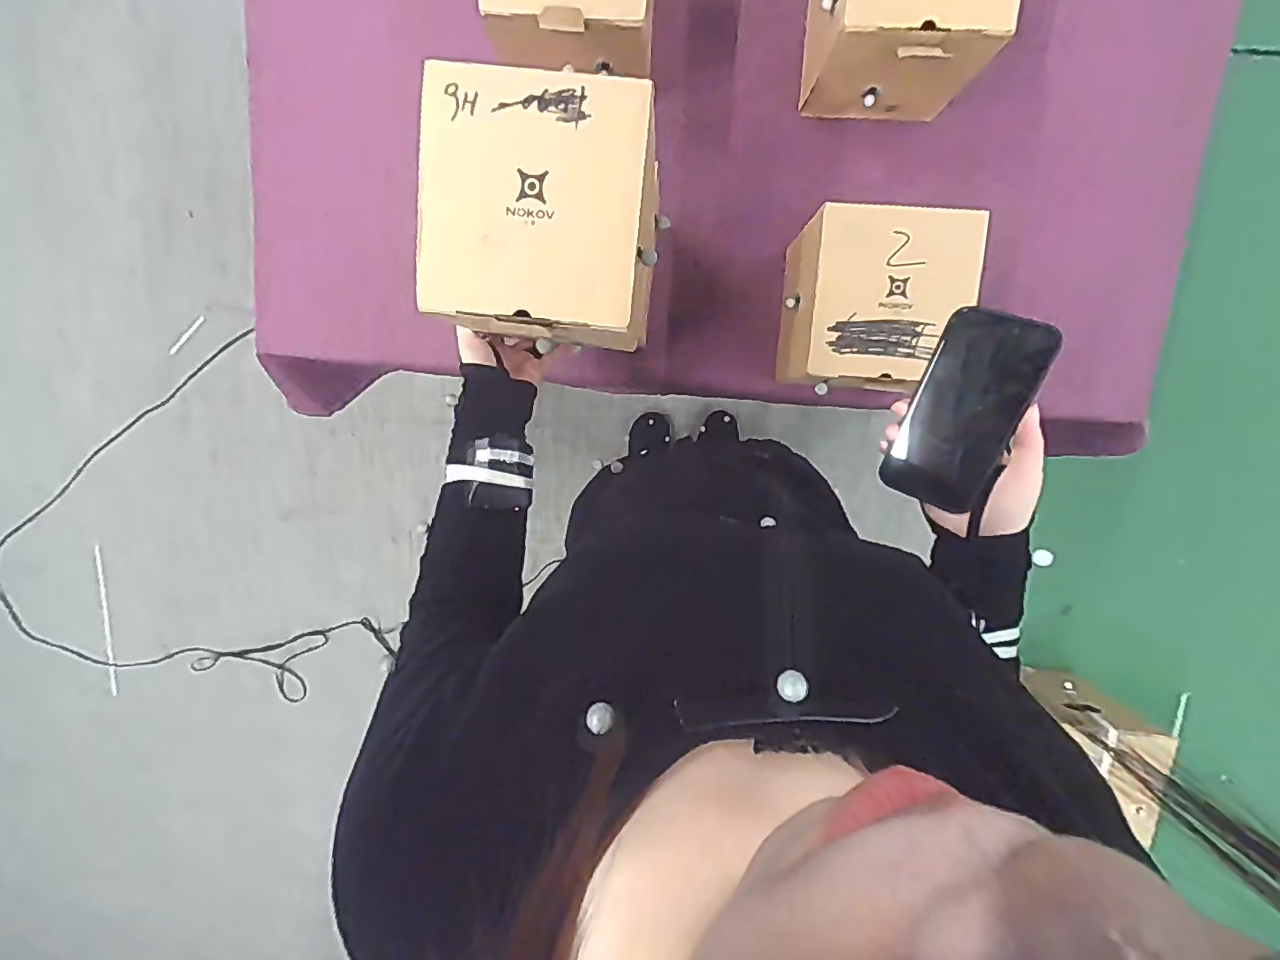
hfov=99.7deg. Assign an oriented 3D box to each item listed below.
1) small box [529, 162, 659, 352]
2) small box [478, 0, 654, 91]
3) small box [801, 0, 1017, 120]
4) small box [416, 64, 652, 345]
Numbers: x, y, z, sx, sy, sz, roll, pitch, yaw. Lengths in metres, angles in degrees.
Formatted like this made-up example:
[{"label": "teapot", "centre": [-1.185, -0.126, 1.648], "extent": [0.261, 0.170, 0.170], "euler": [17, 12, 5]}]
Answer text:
[{"label": "small box", "centre": [-0.069, -0.255, 0.636], "extent": [0.168, 0.176, 0.179], "euler": [6, 98, 1]}, {"label": "small box", "centre": [-0.070, -0.543, 0.593], "extent": [0.168, 0.176, 0.179], "euler": [5, 99, 0]}, {"label": "small box", "centre": [0.280, -0.526, 0.583], "extent": [0.168, 0.176, 0.179], "euler": [2, 100, 2]}, {"label": "small box", "centre": [-0.079, -0.217, 0.477], "extent": [0.168, 0.176, 0.179], "euler": [6, 100, 1]}]
